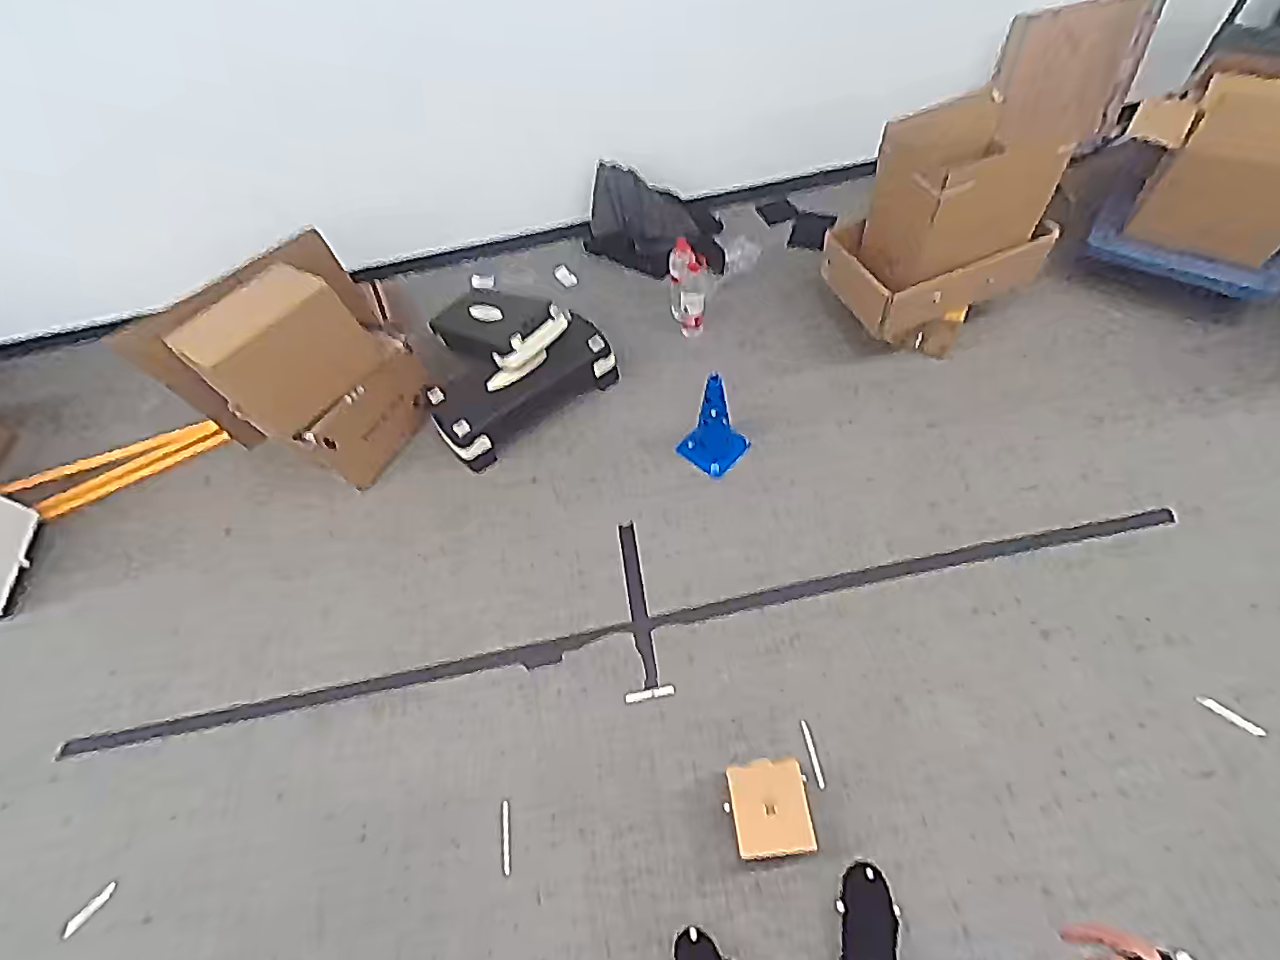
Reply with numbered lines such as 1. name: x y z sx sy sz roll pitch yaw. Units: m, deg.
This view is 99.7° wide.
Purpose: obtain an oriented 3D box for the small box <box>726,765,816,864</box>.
1. small box: 0.296 0.773 1.257 0.168 0.176 0.179 -8 58 2
